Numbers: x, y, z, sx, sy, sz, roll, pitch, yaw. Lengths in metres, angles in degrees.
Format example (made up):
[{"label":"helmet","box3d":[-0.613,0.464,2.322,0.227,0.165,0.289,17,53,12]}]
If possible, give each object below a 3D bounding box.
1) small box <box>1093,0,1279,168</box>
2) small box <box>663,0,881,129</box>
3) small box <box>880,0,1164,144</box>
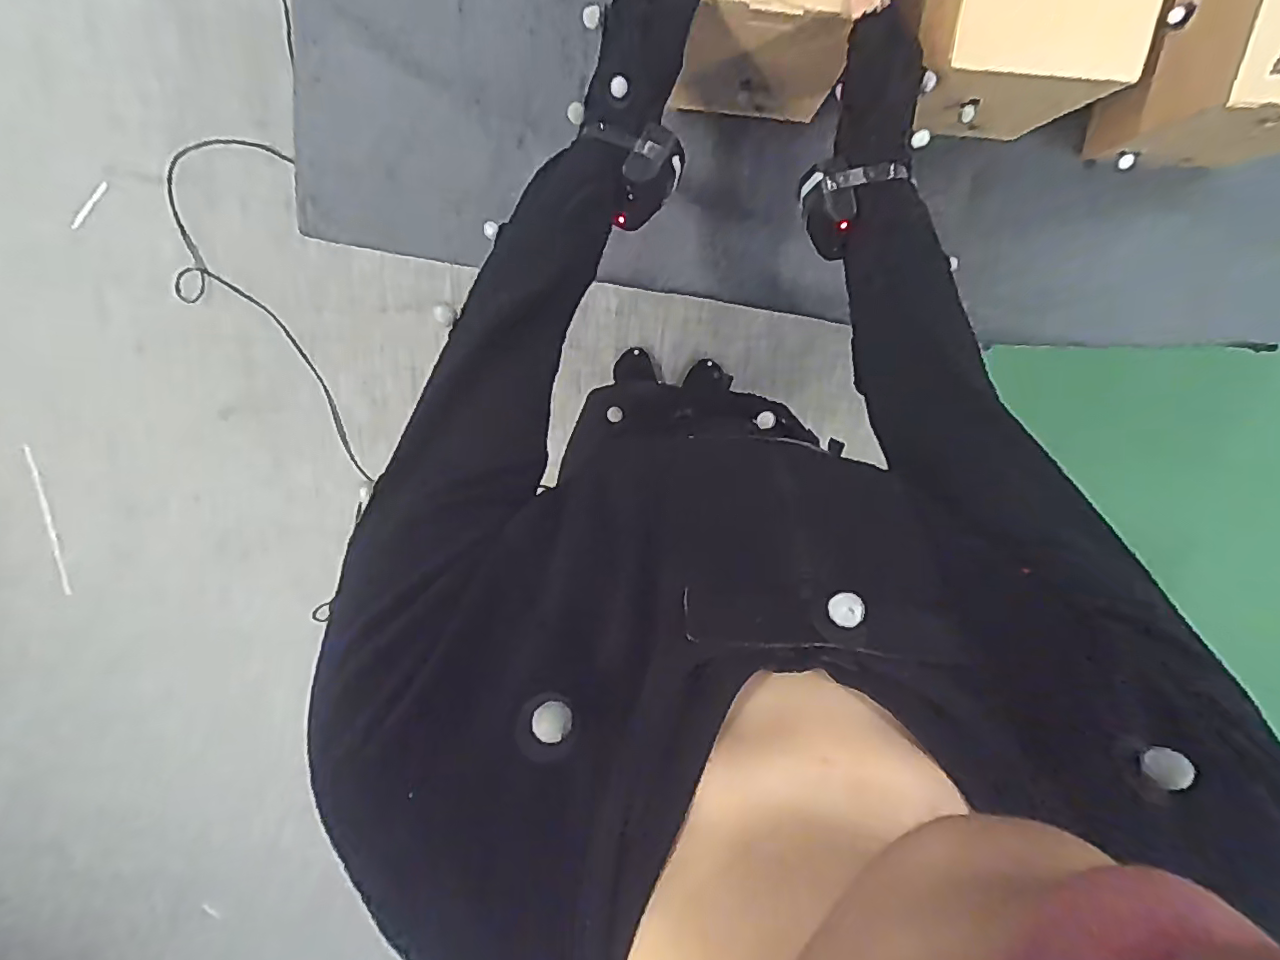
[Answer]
[{"label":"small box","box3d":[0.588,-0.415,0.512,0.168,0.176,0.179,4,105,0]},{"label":"small box","box3d":[0.113,-0.462,0.491,0.168,0.176,0.179,5,98,-2]},{"label":"small box","box3d":[0.349,-0.442,0.511,0.168,0.176,0.179,4,106,0]}]
